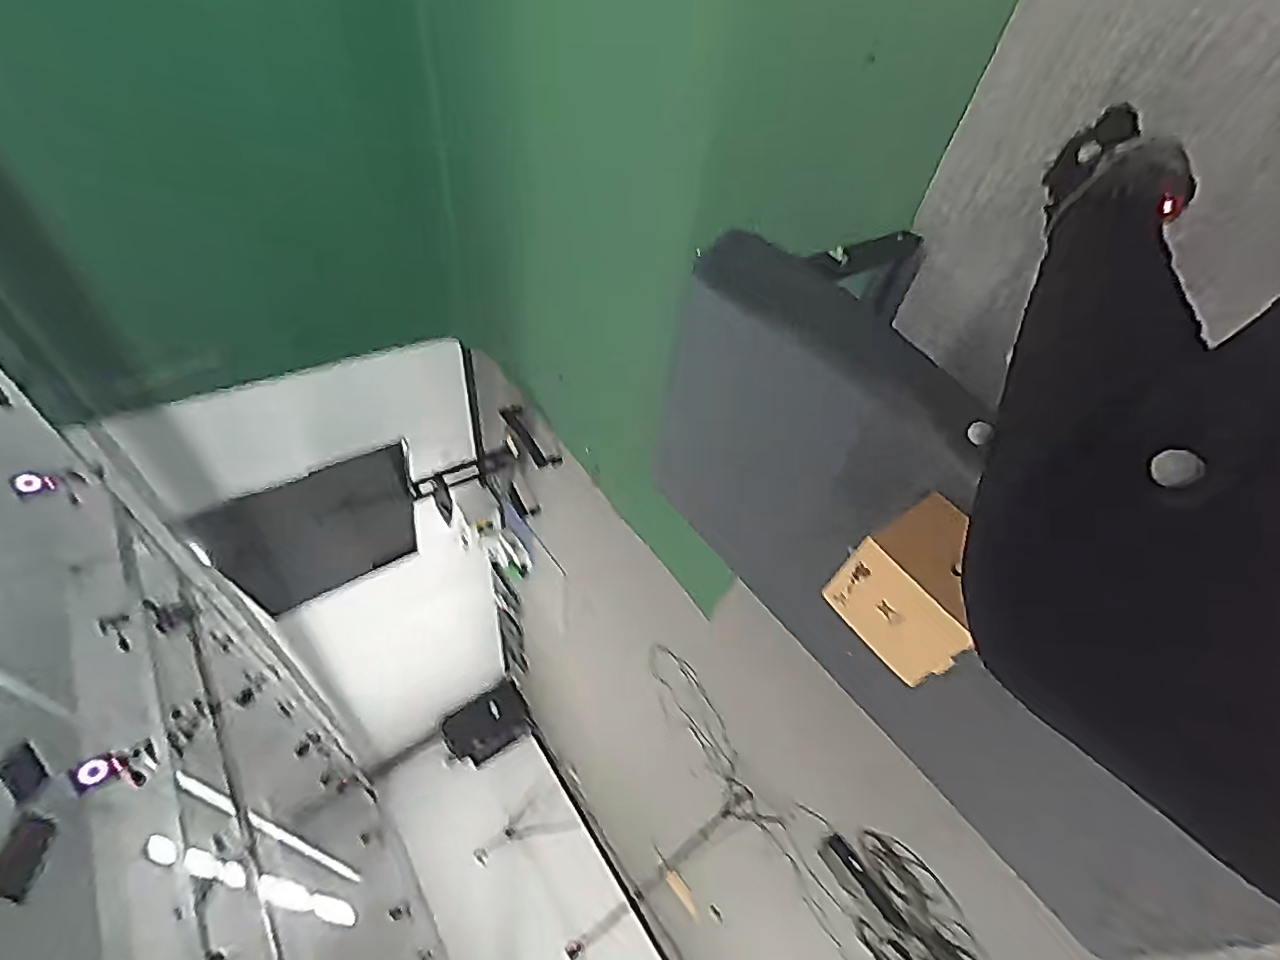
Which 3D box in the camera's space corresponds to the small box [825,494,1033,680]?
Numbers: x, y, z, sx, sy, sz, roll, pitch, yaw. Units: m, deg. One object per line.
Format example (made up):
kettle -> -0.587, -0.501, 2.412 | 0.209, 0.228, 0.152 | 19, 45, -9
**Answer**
small box -> 0.419, 0.151, 0.795 | 0.179, 0.176, 0.168 | 49, 149, 28
